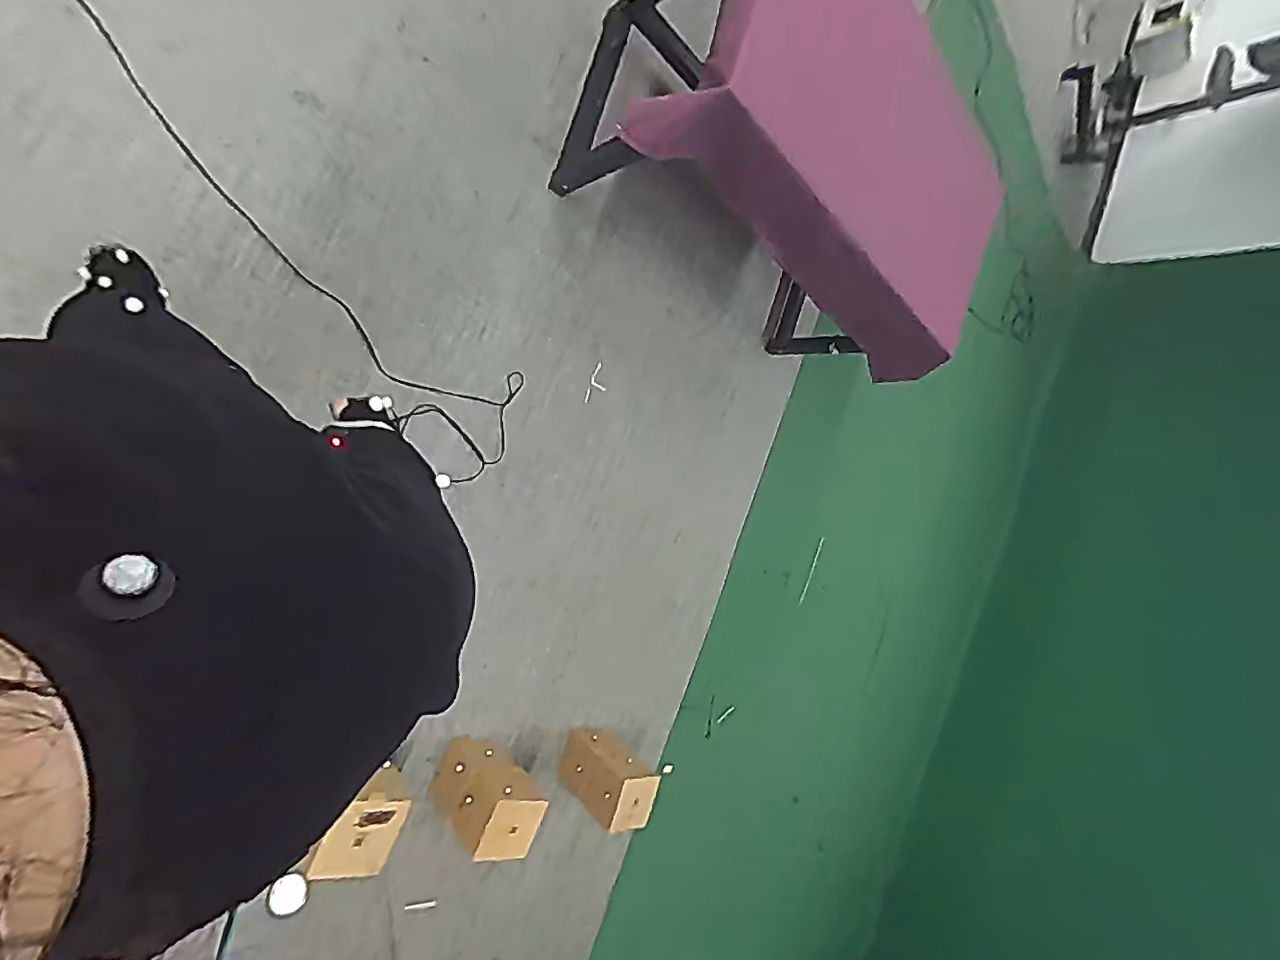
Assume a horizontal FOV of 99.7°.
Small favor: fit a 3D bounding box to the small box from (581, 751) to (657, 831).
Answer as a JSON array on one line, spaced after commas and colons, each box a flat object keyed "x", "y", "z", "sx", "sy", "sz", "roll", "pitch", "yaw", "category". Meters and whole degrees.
[{"x": -0.076, "y": 1.037, "z": 1.821, "sx": 0.168, "sy": 0.176, "sz": 0.179, "roll": 22, "pitch": 86, "yaw": -38, "category": "small box"}]

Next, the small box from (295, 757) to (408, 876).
[{"x": -0.684, "y": 0.783, "z": 1.274, "sx": 0.168, "sy": 0.176, "sz": 0.179, "roll": 30, "pitch": 81, "yaw": -39, "category": "small box"}]

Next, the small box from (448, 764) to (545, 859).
[{"x": -0.408, "y": 0.932, "z": 1.531, "sx": 0.179, "sy": 0.176, "sz": 0.168, "roll": 30, "pitch": 81, "yaw": -39, "category": "small box"}]

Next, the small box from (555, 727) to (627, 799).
[{"x": -0.180, "y": 1.012, "z": 1.946, "sx": 0.168, "sy": 0.176, "sz": 0.179, "roll": 23, "pitch": 85, "yaw": -39, "category": "small box"}]
